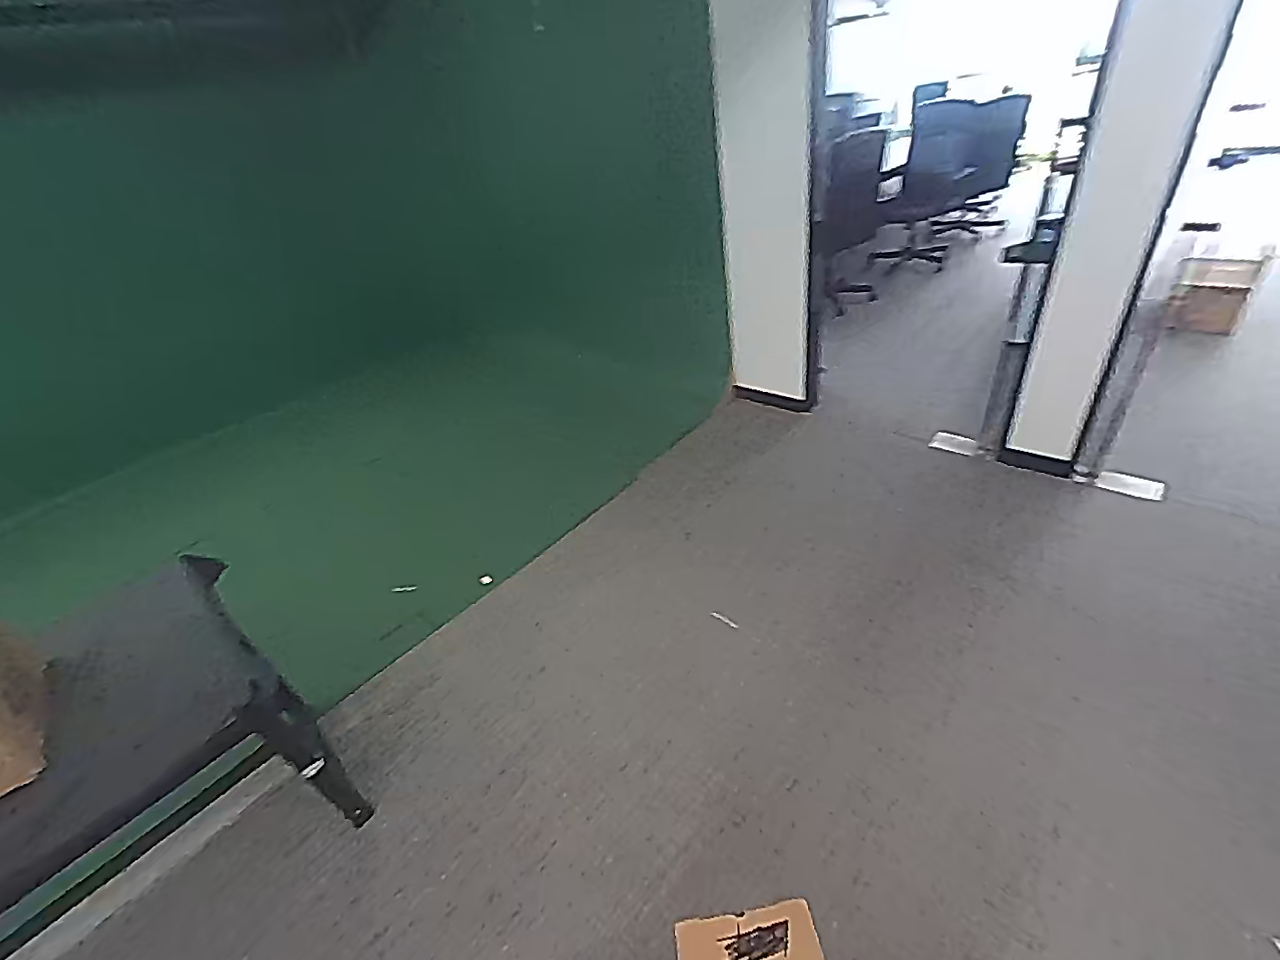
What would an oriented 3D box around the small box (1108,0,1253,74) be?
[{"bbox_3d":[1.182,-1.029,1.151,0.168,0.176,0.179,-35,-13,1],"label":"small box"}]
